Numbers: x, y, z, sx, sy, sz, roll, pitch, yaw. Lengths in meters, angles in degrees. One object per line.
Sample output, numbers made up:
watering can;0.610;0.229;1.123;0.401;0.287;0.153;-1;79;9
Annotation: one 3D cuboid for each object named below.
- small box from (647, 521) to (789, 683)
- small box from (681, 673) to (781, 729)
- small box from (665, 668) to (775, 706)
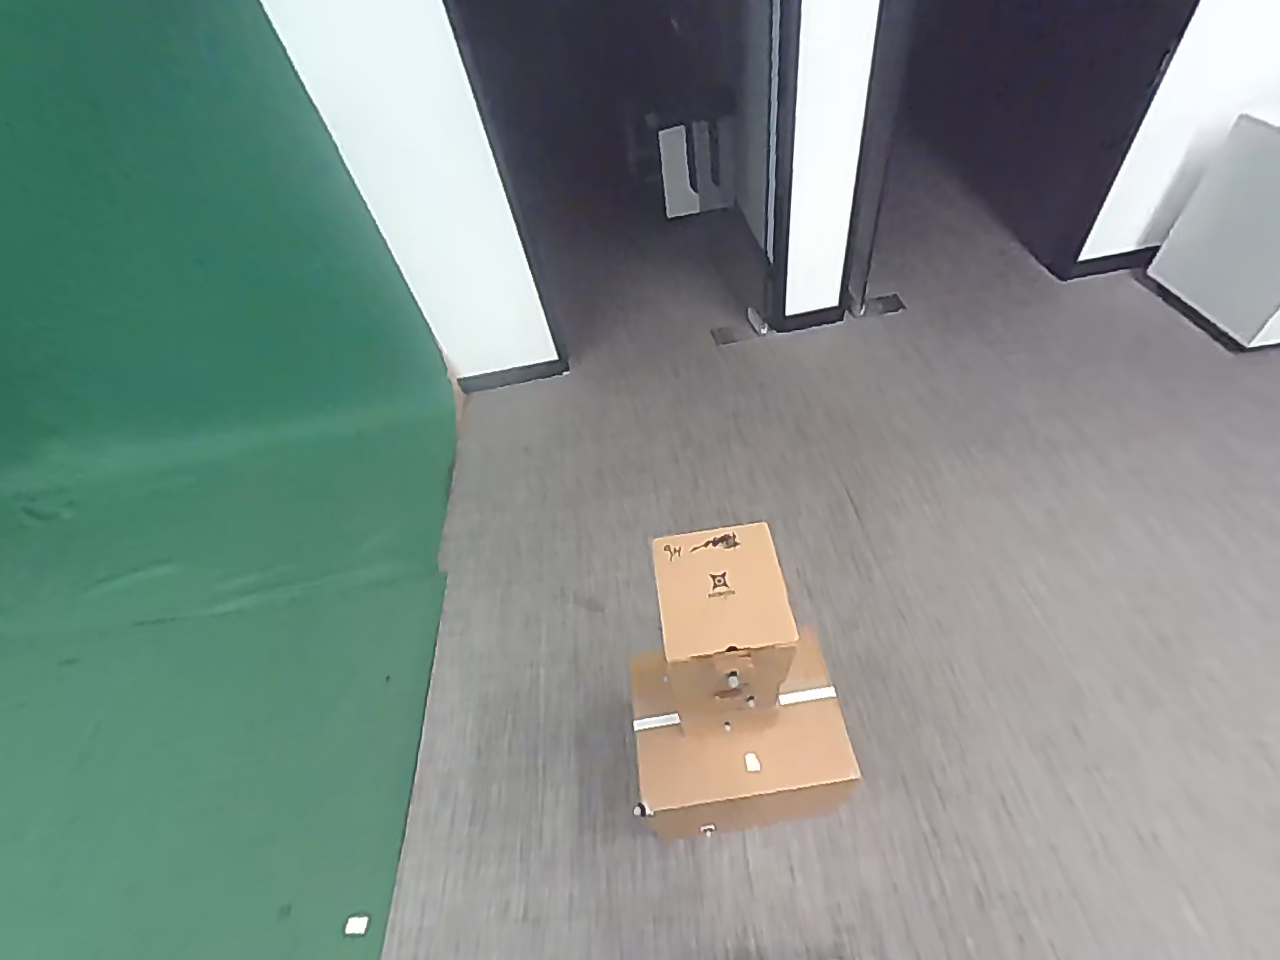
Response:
small box;0.109;0.184;0.779;0.168;0.176;0.179;-9;56;3
small box;0.158;0.369;1.042;0.179;0.176;0.168;-11;55;2
small box;0.126;0.274;0.915;0.168;0.176;0.179;-8;54;3
